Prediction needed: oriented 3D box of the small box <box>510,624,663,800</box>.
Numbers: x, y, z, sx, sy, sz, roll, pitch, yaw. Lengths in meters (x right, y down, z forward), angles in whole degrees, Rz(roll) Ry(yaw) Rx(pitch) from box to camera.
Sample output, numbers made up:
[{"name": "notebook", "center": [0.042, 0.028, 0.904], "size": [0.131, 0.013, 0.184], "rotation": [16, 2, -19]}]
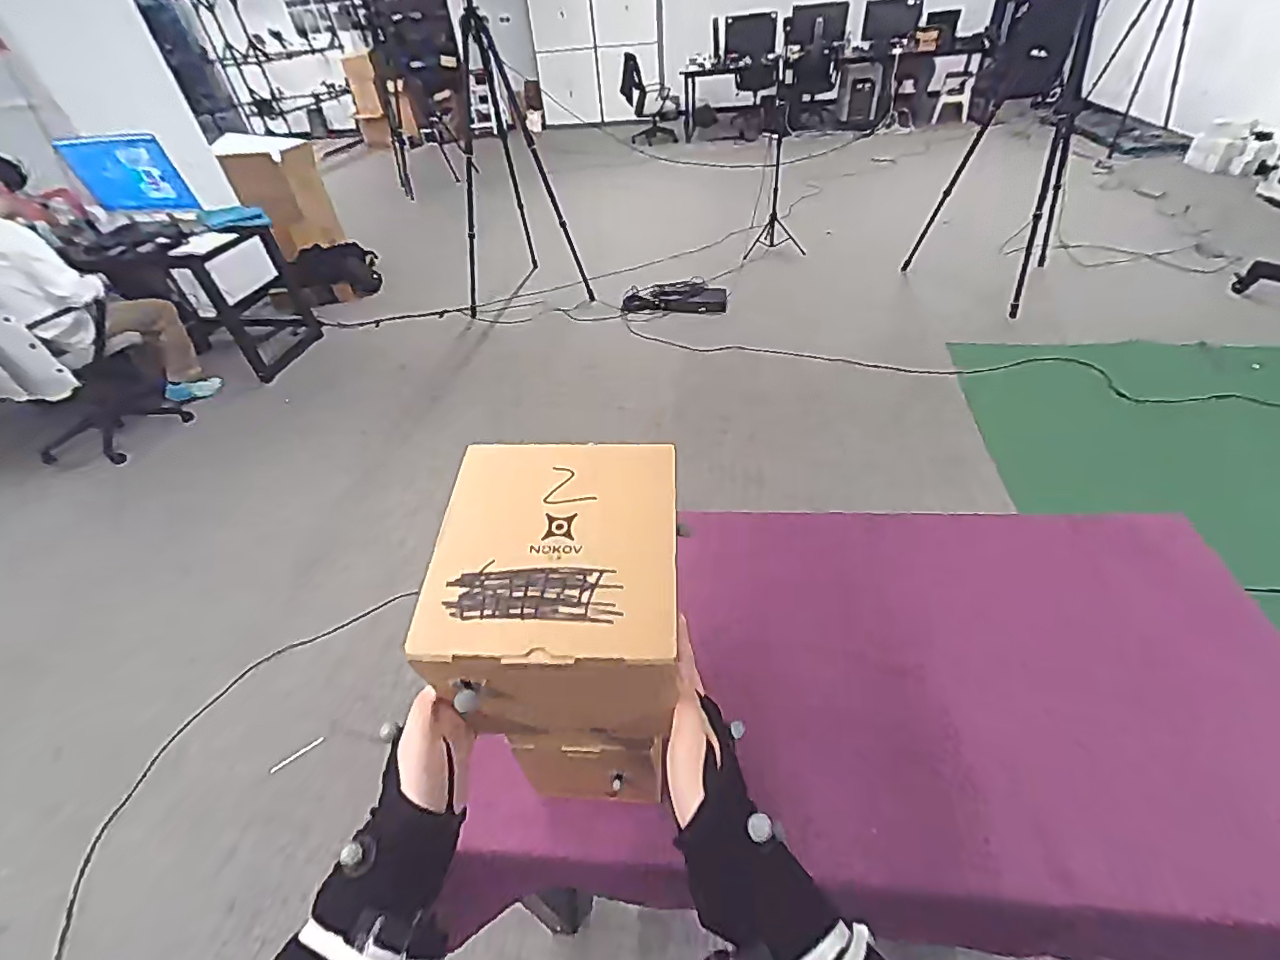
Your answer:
[{"name": "small box", "center": [-0.057, 0.307, 0.725], "size": [0.168, 0.176, 0.179], "rotation": [0, 42, 5]}]

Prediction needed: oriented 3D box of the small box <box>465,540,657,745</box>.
[{"name": "small box", "center": [-0.073, 0.186, 0.617], "size": [0.179, 0.176, 0.168], "rotation": [-1, 42, 3]}]
